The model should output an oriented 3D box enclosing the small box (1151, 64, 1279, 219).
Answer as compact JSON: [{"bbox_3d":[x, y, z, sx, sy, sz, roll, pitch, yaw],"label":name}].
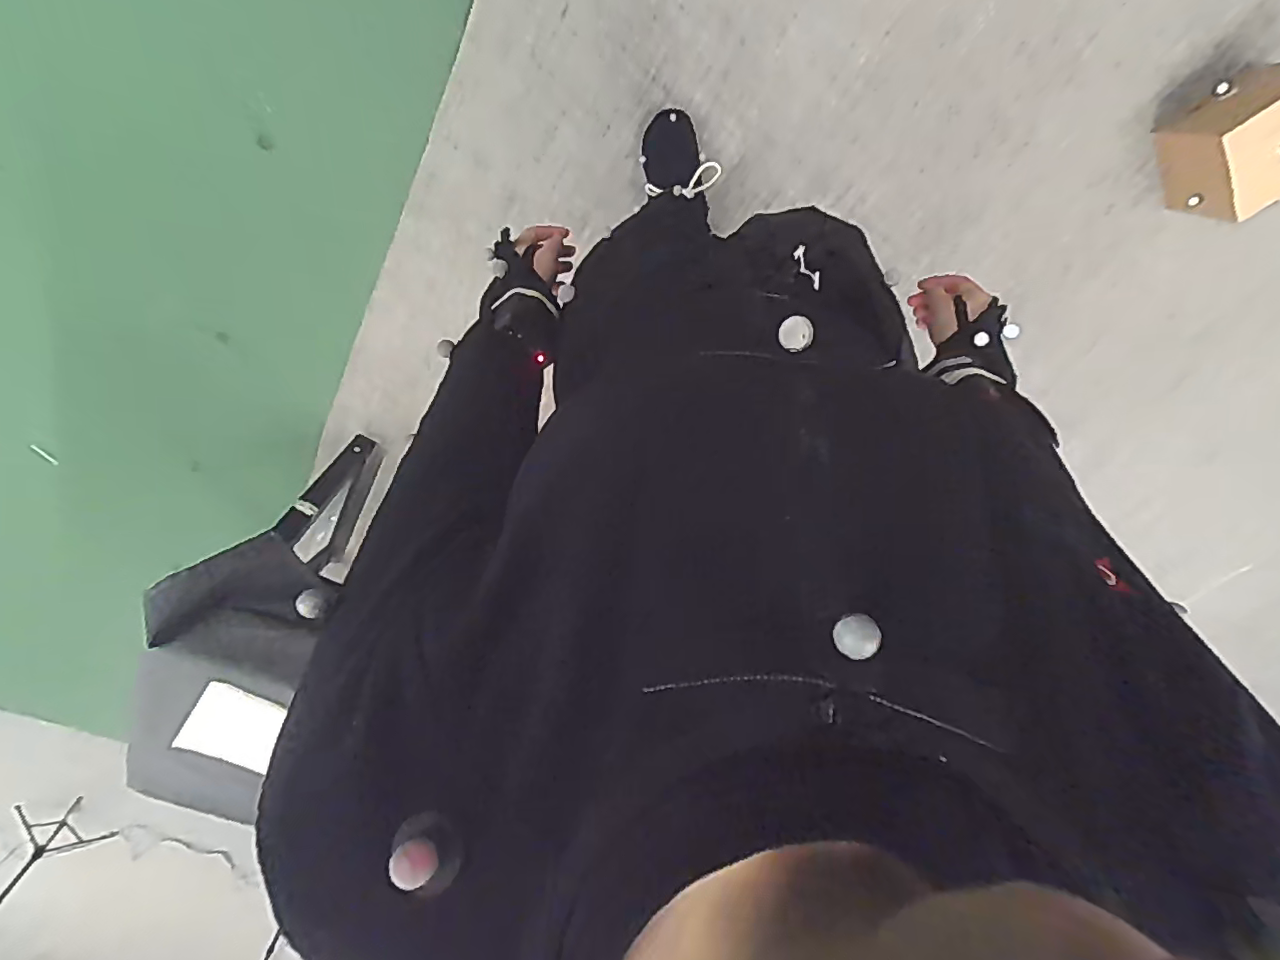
[{"bbox_3d":[1.085,-0.610,0.971,0.168,0.176,0.179,-34,116,23],"label":"small box"}]
